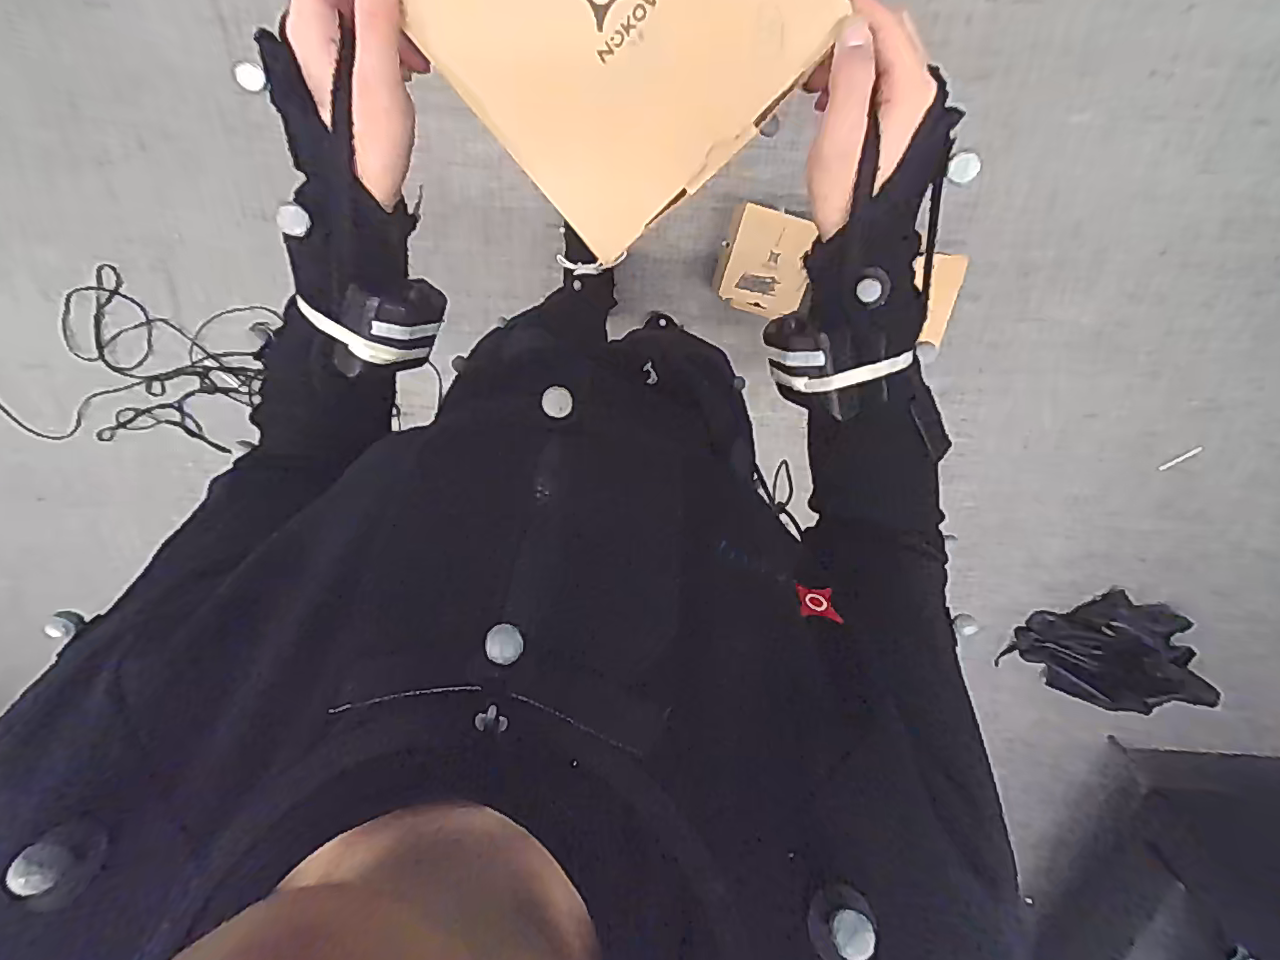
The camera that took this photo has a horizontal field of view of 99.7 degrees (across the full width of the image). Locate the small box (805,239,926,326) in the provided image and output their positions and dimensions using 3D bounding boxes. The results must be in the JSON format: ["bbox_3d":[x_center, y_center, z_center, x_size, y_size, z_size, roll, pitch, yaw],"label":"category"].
[{"bbox_3d":[0.464,-0.406,1.144,0.168,0.176,0.179,6,114,-2],"label":"small box"}]

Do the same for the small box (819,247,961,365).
[{"bbox_3d":[0.447,-0.327,1.001,0.168,0.176,0.179,7,114,-1],"label":"small box"}]
